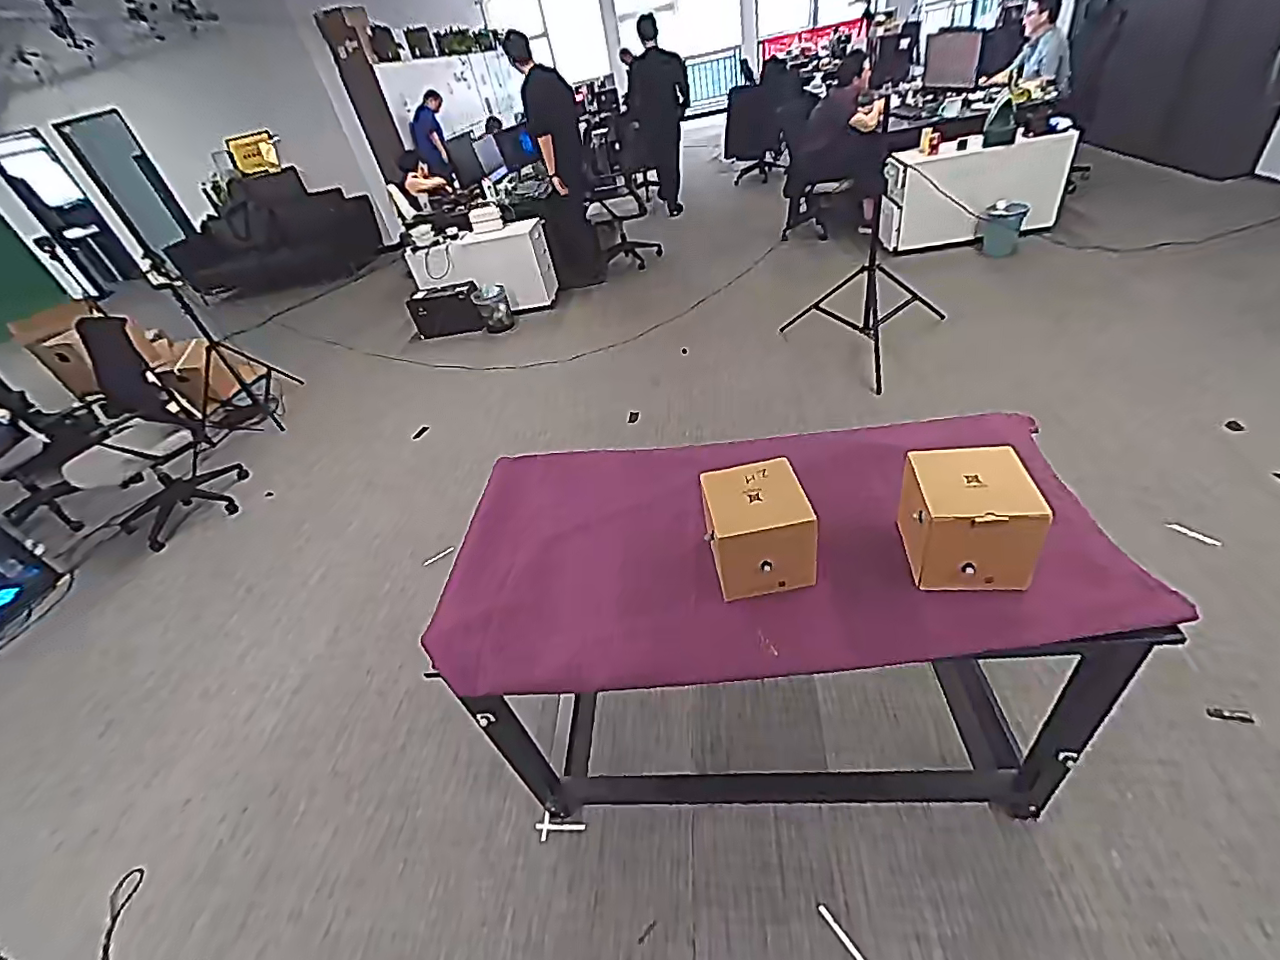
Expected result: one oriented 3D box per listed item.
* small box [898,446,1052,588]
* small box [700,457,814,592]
[{"bbox_3d":[0.550,0.062,0.919,0.168,0.176,0.179,-3,38,13],"label":"small box"},{"bbox_3d":[0.212,0.087,0.989,0.168,0.176,0.179,-11,38,3],"label":"small box"}]
